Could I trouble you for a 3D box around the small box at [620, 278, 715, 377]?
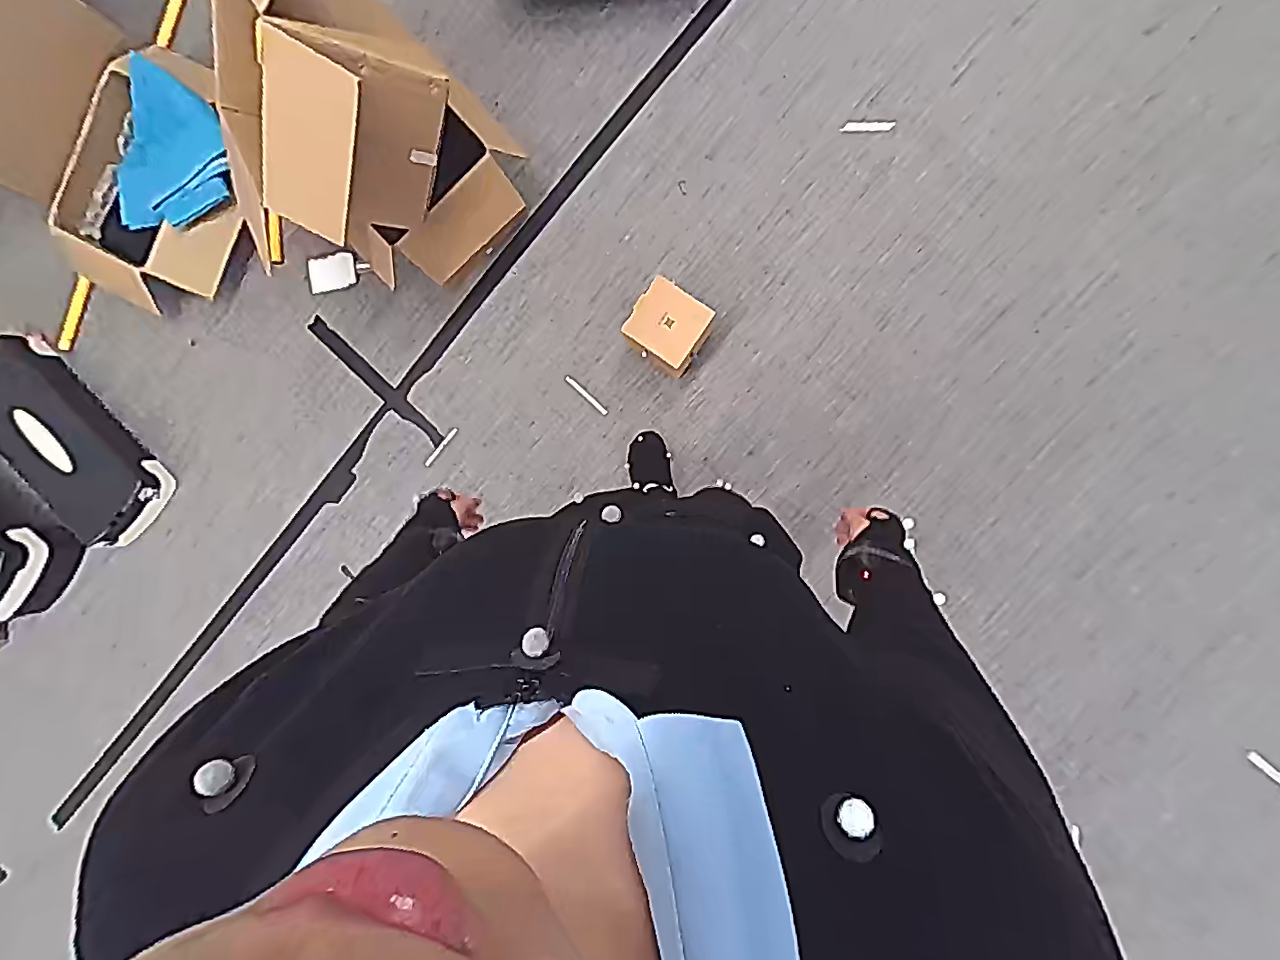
[{"bbox_3d":[0.075,-0.382,1.391,0.179,0.176,0.168,35,95,4],"label":"small box"}]
